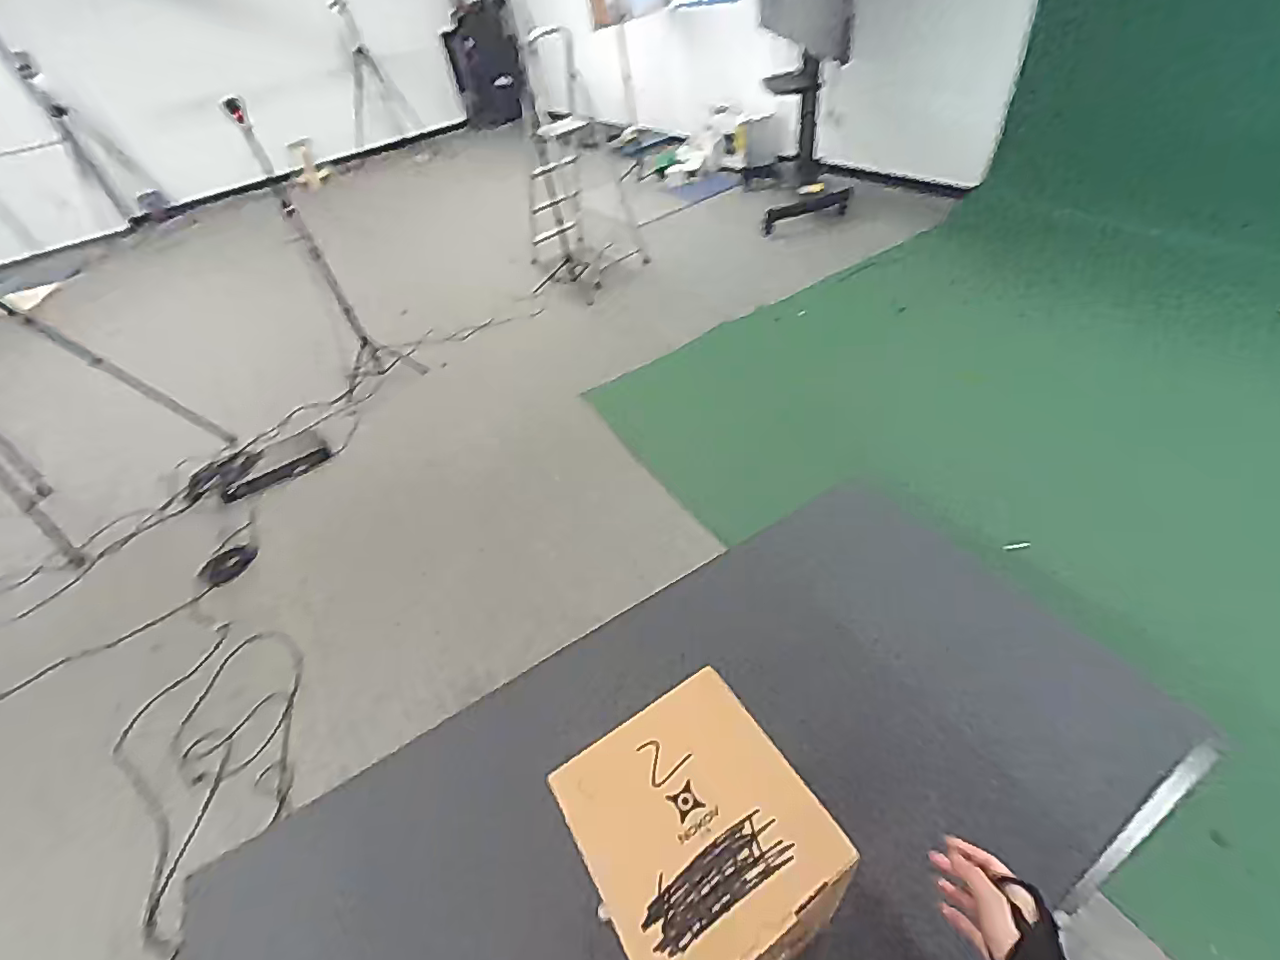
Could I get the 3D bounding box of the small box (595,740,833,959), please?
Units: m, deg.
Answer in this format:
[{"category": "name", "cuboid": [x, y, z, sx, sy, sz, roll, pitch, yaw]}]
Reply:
[{"category": "small box", "cuboid": [0.076, 0.427, 0.573, 0.168, 0.176, 0.179, -30, 45, -17]}]
